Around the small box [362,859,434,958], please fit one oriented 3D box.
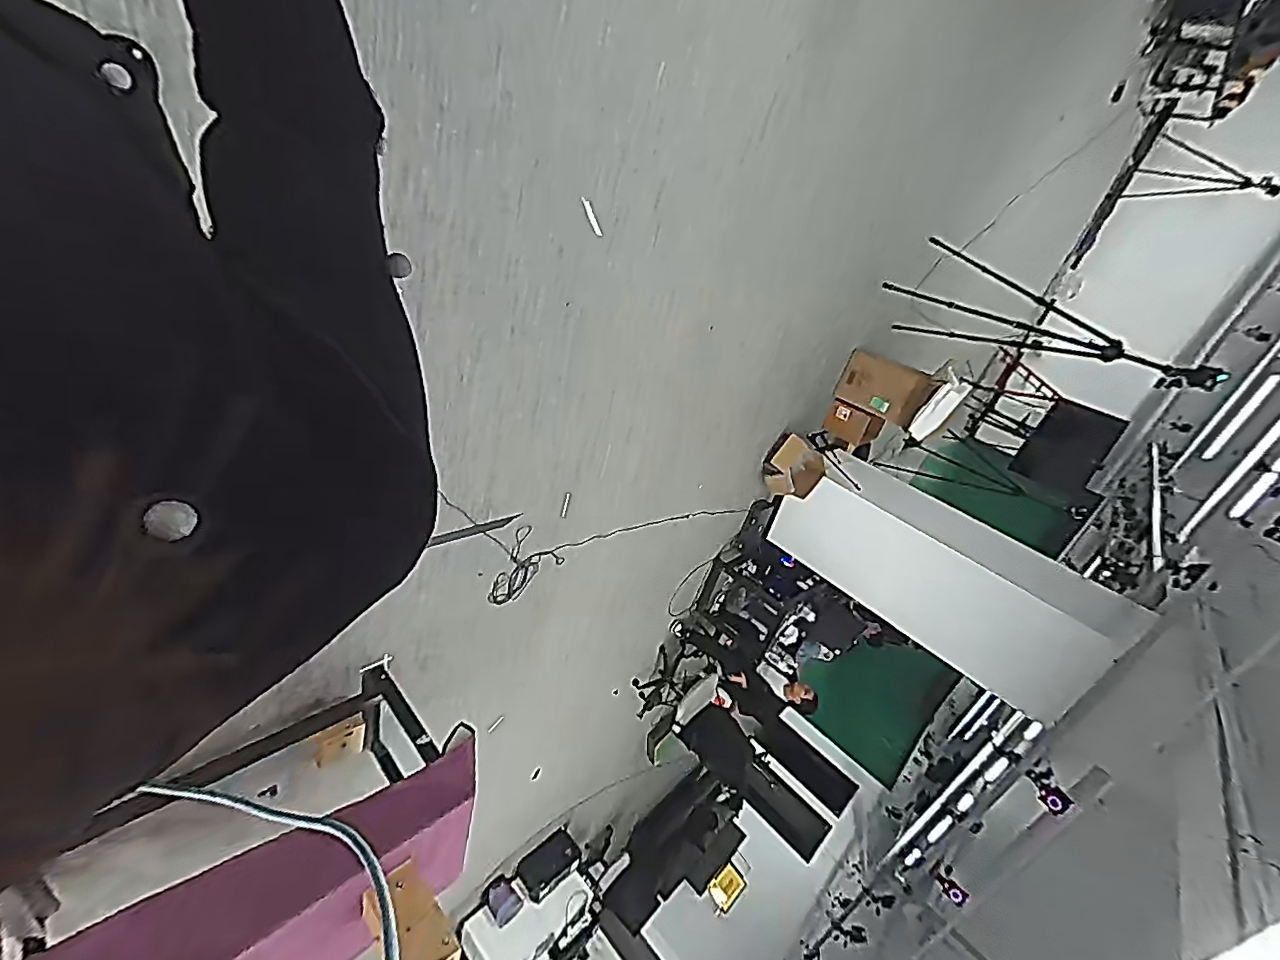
[{"bbox_3d":[-0.819,1.434,1.821,0.168,0.176,0.179,-16,131,-46],"label":"small box"}]
